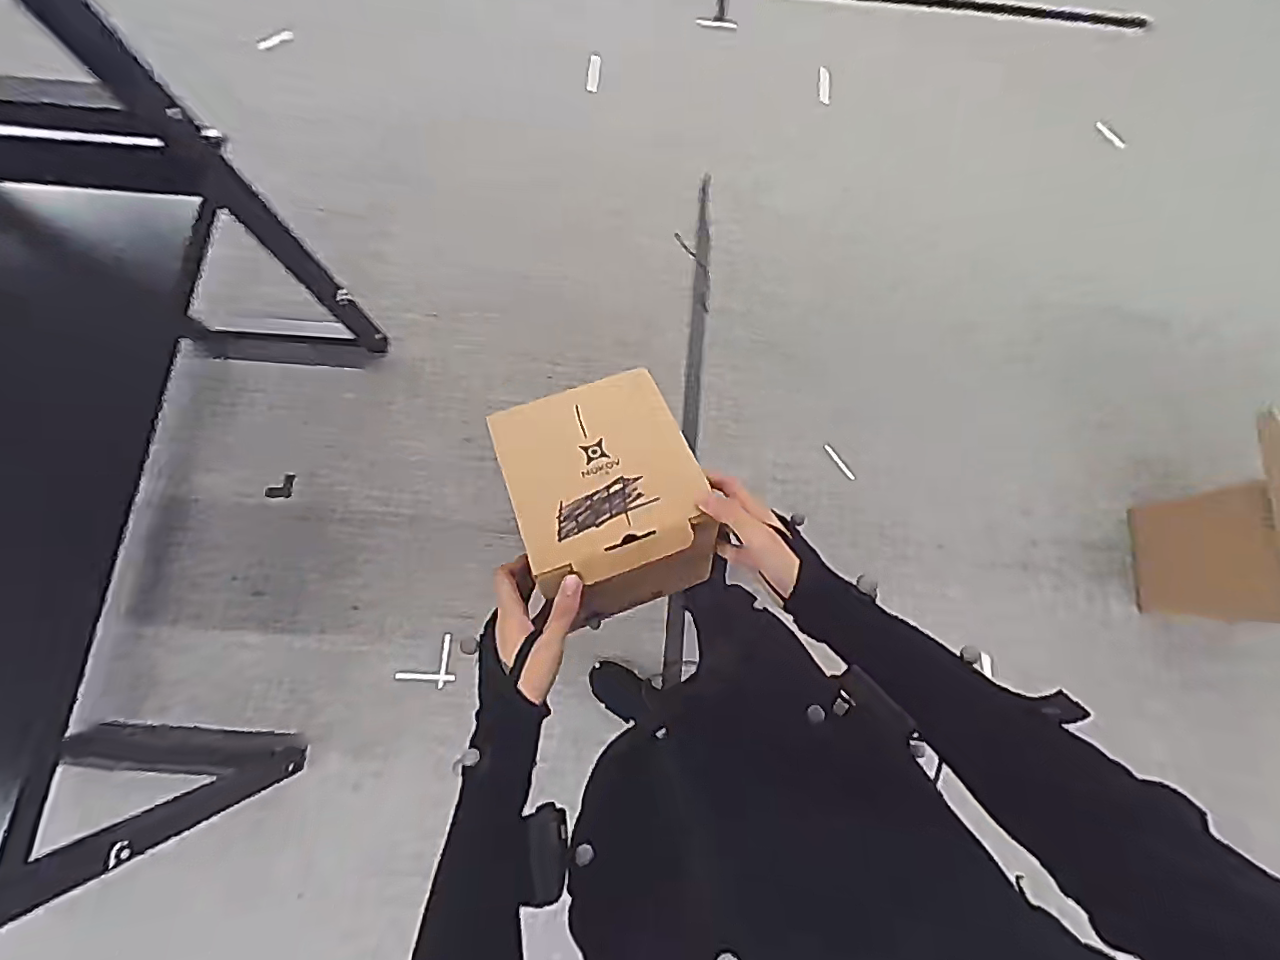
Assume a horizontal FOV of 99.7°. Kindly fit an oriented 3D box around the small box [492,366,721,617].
[{"bbox_3d":[-0.032,0.022,0.546,0.168,0.176,0.179,-18,59,-9],"label":"small box"}]
